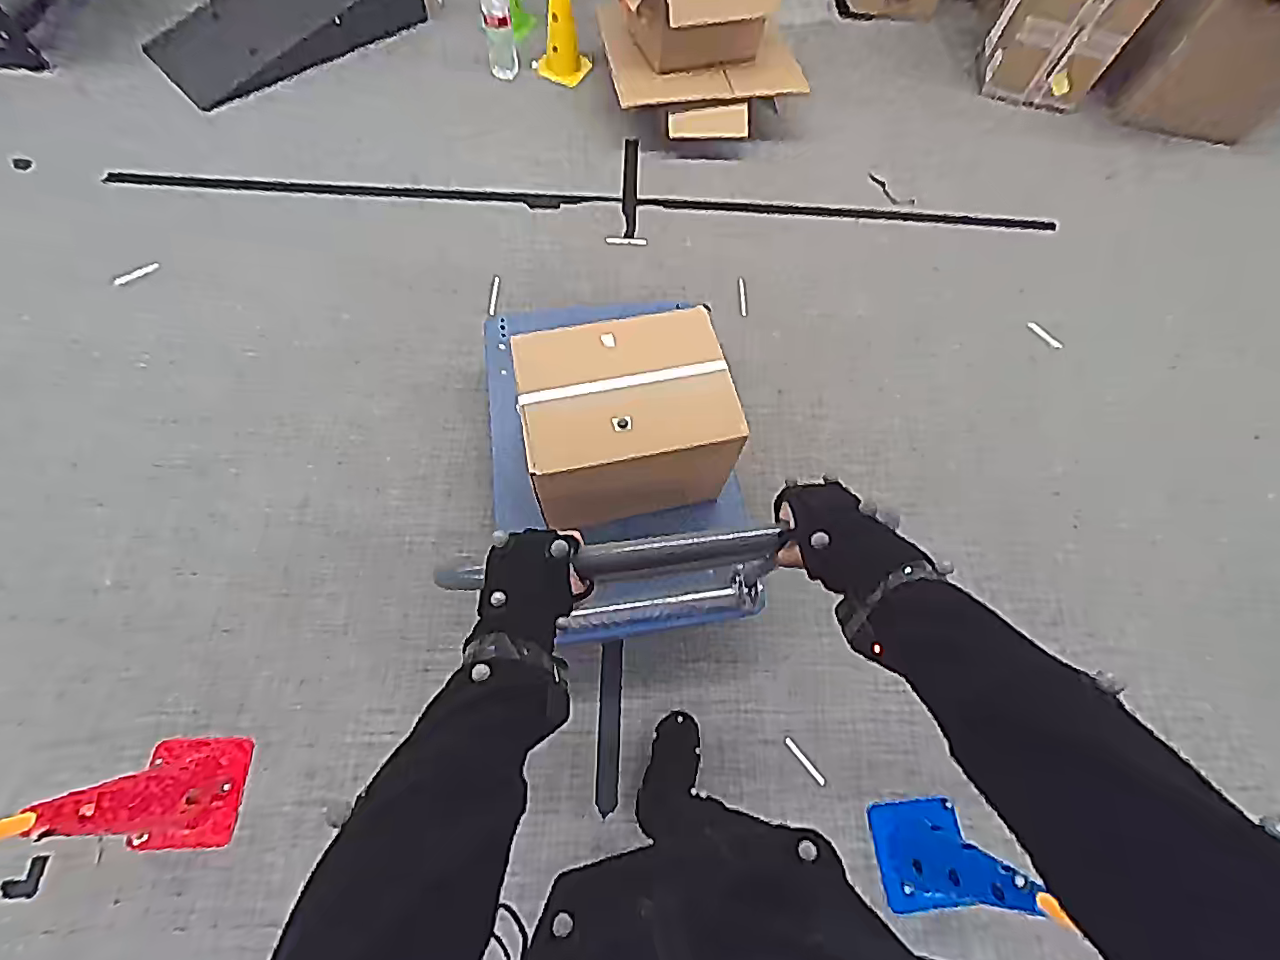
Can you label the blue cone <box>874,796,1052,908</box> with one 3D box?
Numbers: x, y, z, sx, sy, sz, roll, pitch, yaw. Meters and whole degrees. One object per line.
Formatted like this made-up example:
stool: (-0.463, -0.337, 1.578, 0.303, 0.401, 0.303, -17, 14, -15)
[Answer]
blue cone: (0.623, 0.728, 1.015, 0.193, 0.380, 0.192, -1, 65, -5)
